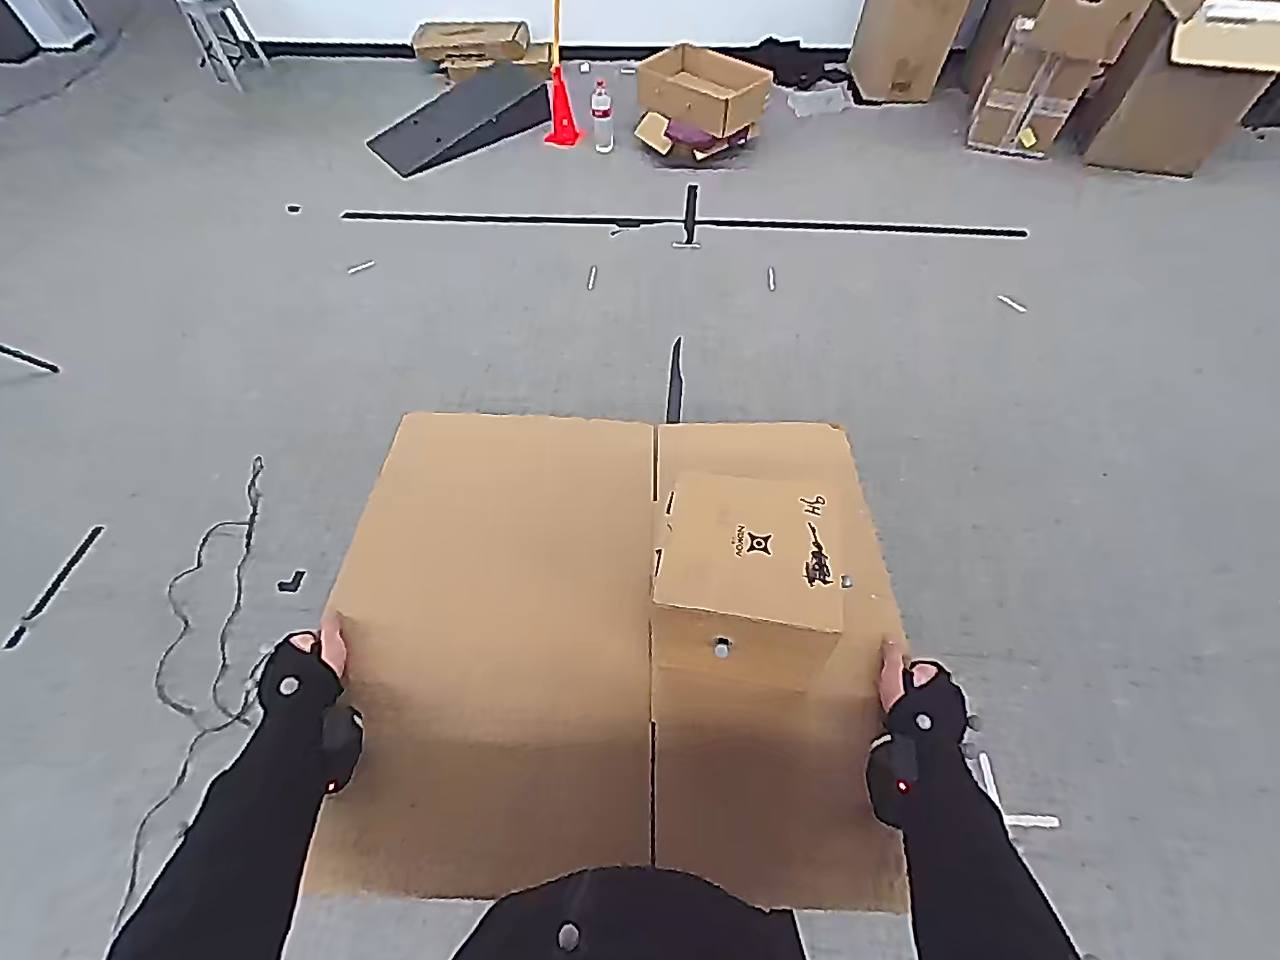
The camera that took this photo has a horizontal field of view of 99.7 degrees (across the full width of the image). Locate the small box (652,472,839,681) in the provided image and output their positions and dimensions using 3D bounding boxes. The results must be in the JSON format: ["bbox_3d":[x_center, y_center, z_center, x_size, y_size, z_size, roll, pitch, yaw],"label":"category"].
[{"bbox_3d":[0.117,0.112,0.611,0.179,0.176,0.168,6,53,10],"label":"small box"}]
